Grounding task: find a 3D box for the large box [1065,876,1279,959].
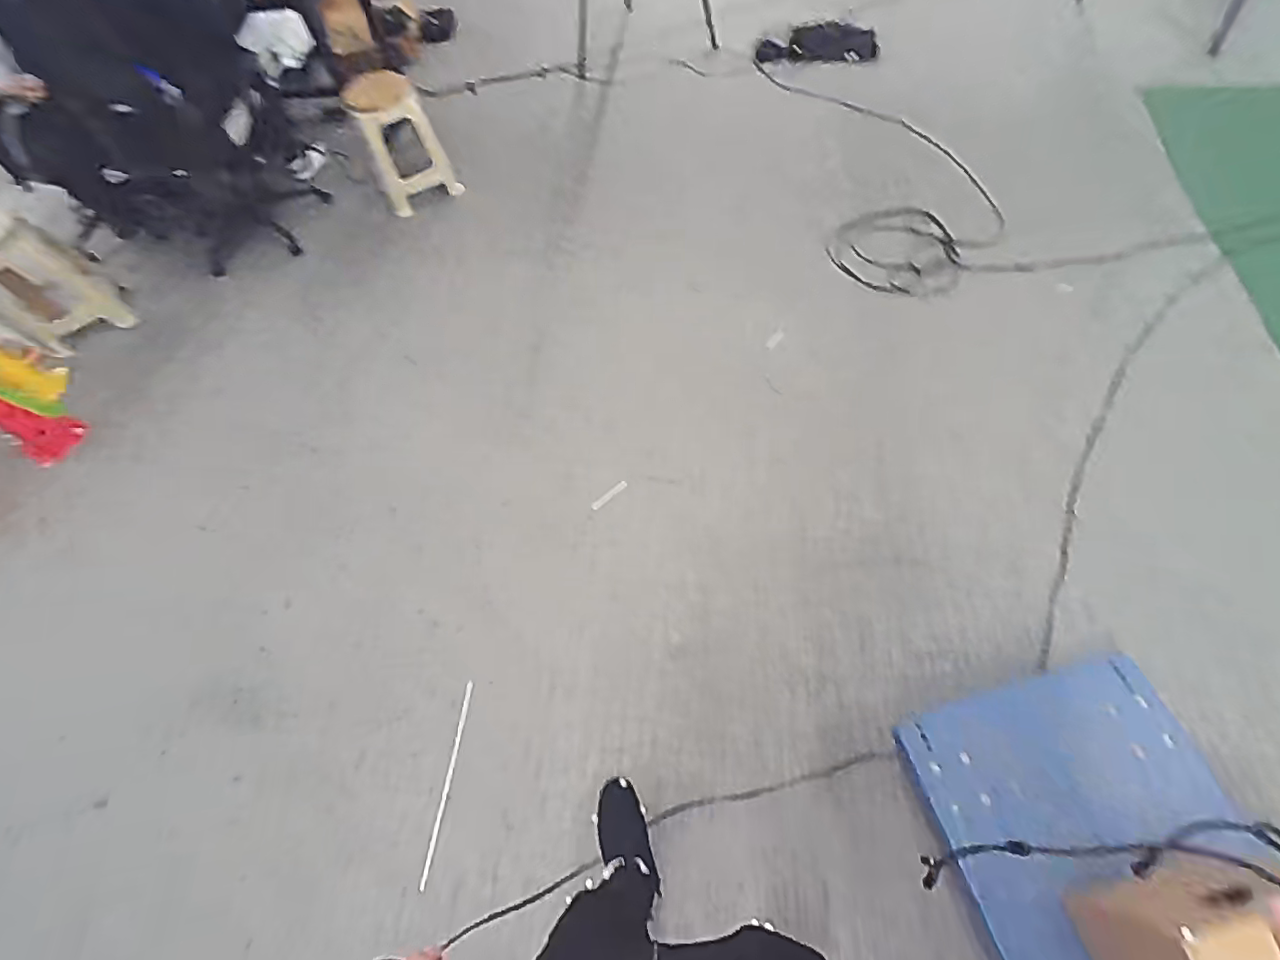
[{"bbox_3d":[0.984,0.891,0.811,0.320,0.320,0.408,-15,59,-3],"label":"large box"}]
